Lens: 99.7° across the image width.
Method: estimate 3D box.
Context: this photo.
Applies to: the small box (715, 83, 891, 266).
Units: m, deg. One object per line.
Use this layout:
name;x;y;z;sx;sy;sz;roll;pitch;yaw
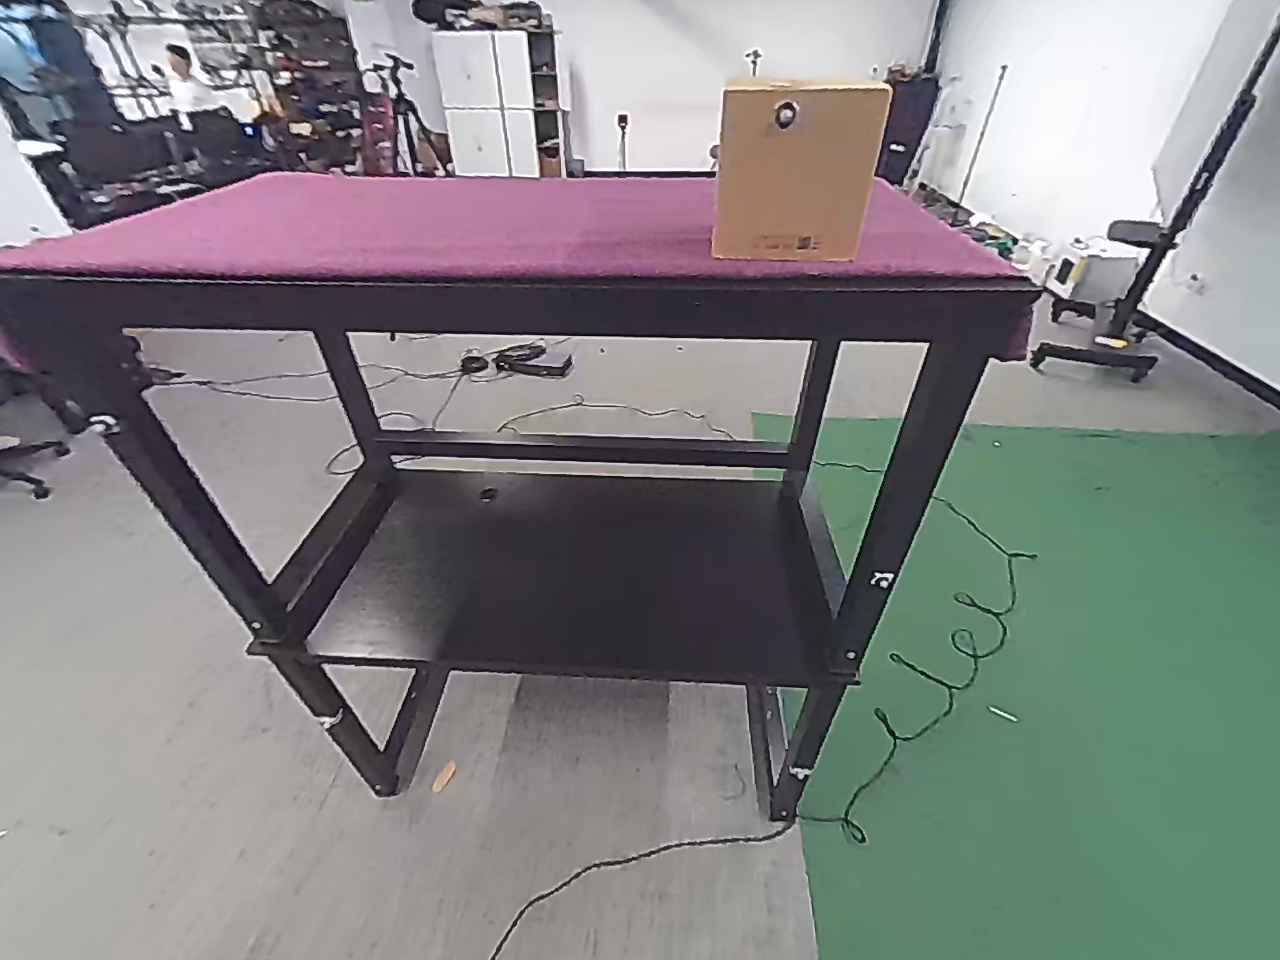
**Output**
small box;0.178;-0.370;0.650;0.168;0.176;0.179;3;39;7
